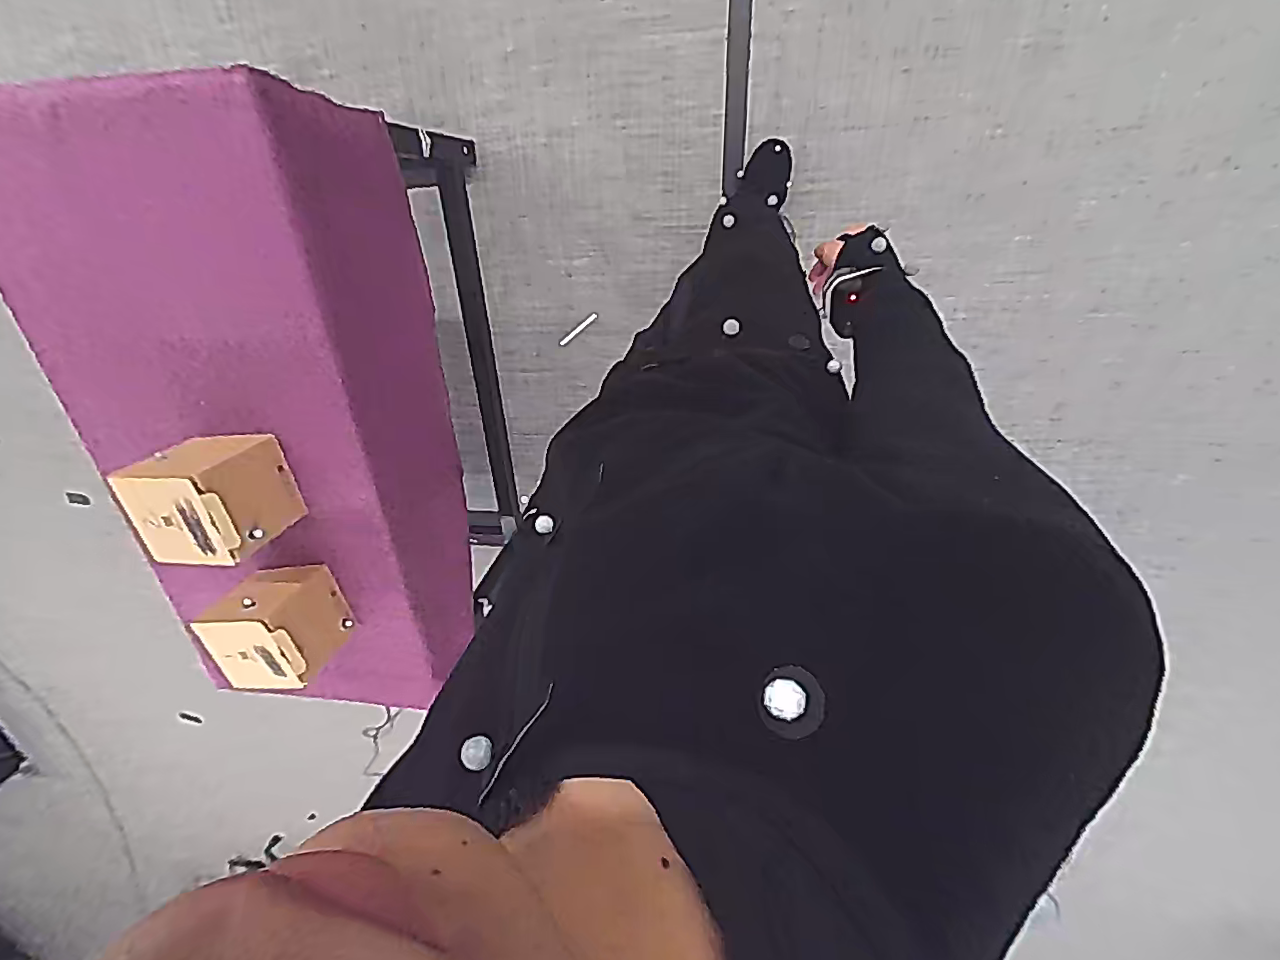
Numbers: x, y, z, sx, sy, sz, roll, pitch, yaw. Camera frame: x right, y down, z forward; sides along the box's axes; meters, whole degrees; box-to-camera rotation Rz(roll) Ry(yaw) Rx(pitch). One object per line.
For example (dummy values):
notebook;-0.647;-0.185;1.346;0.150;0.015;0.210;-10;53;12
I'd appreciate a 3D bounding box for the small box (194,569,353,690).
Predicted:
small box;-0.708;0.292;1.075;0.179;0.176;0.168;-6;115;14
